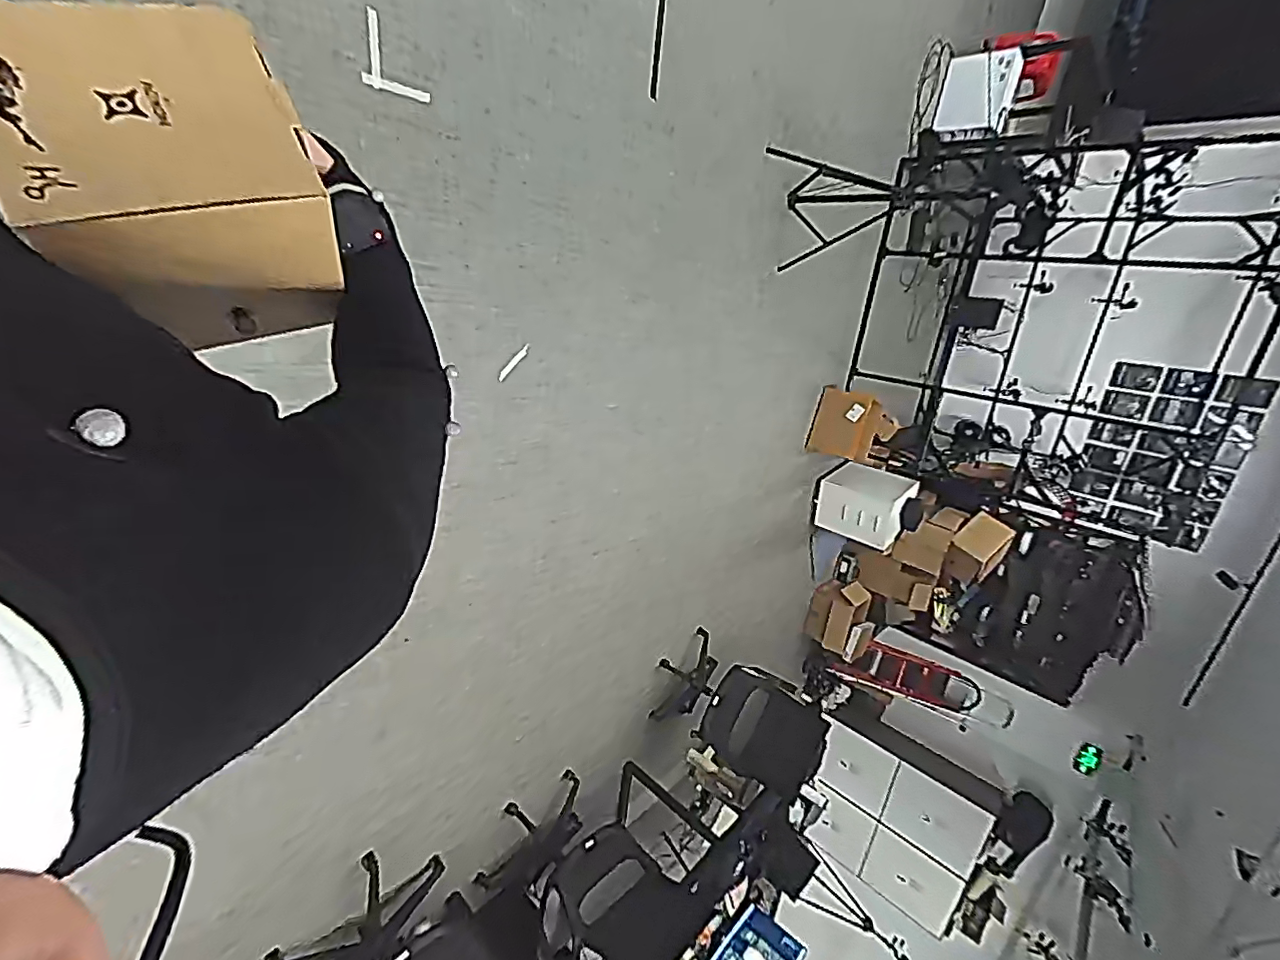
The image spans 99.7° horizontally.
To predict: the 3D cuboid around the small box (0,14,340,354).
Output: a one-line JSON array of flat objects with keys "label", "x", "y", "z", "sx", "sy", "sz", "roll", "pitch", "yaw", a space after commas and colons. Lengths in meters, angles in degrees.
[{"label": "small box", "x": -0.369, "y": -0.230, "z": 0.448, "sx": 0.179, "sy": 0.176, "sz": 0.168, "roll": -24, "pitch": 83, "yaw": -28}]
